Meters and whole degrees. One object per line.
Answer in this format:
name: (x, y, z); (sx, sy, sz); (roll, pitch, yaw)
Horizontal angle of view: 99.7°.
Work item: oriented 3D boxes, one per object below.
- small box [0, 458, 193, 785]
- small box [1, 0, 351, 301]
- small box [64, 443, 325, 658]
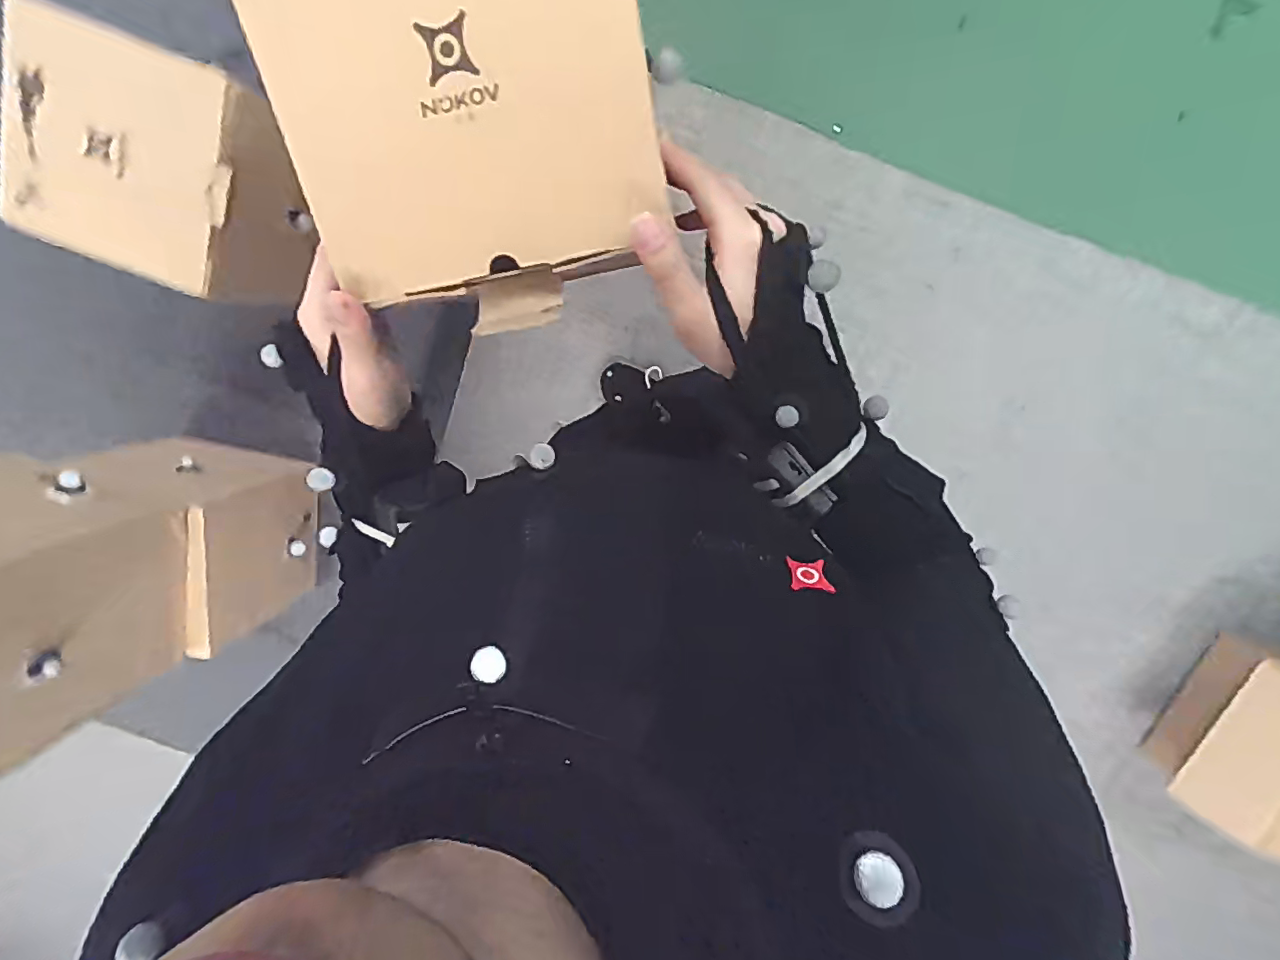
small box: (-0.505, 0.098, 0.434); (0.168, 0.176, 0.179); (13, 105, -2)
small box: (-0.400, -0.274, 0.493); (0.179, 0.176, 0.168); (20, 106, -3)
small box: (-0.482, 0.063, 0.592); (0.179, 0.176, 0.168); (10, 106, 0)
